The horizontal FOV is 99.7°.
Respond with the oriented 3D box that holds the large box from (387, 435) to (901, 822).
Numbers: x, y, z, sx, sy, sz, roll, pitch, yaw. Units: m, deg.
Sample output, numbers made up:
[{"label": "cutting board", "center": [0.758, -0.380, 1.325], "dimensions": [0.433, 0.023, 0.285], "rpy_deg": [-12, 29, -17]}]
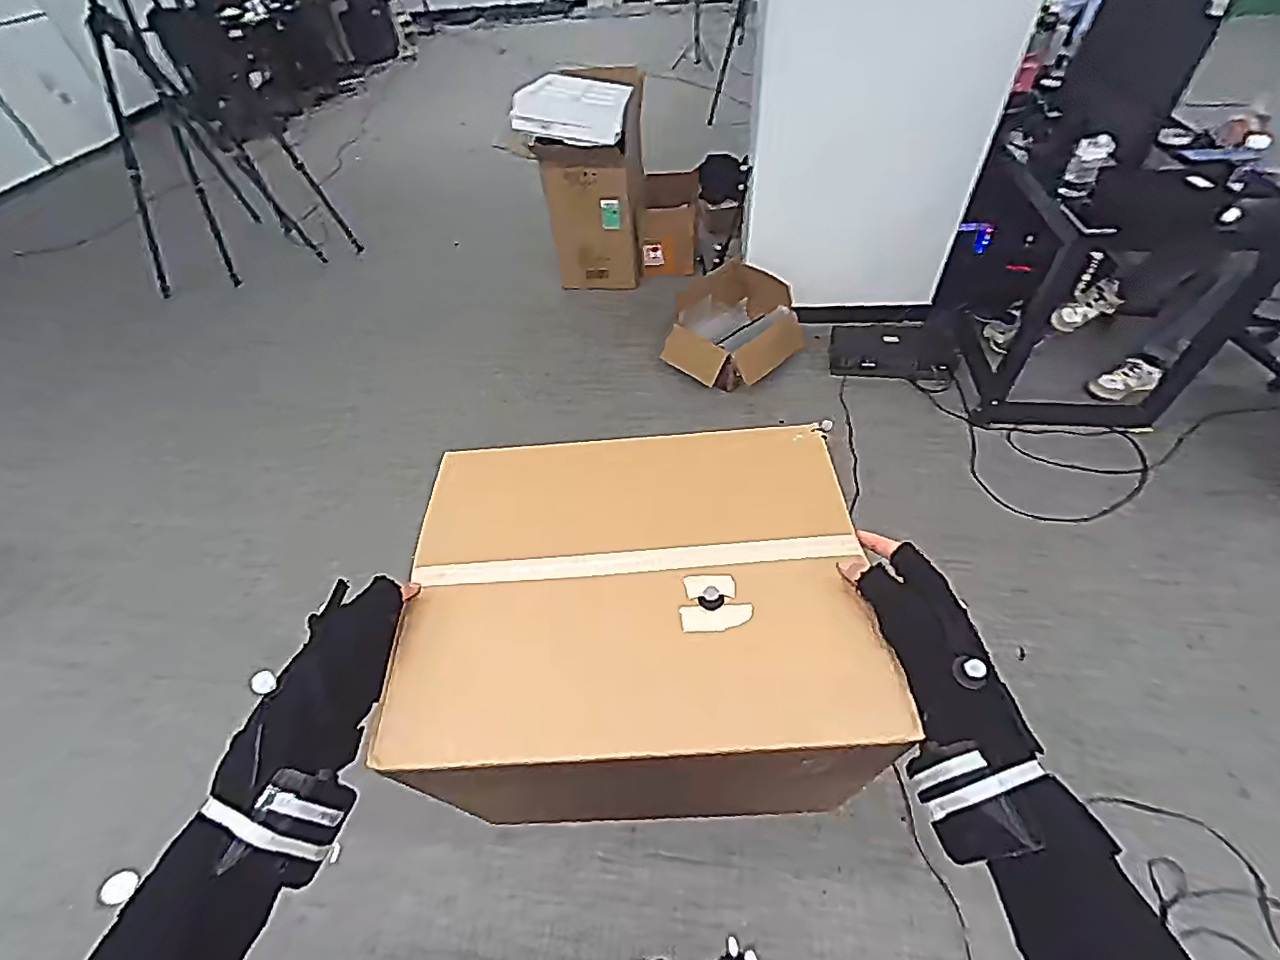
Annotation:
[{"label": "large box", "center": [0.003, 0.177, 0.618], "dimensions": [0.408, 0.320, 0.320], "rpy_deg": [-4, 51, 2]}]
